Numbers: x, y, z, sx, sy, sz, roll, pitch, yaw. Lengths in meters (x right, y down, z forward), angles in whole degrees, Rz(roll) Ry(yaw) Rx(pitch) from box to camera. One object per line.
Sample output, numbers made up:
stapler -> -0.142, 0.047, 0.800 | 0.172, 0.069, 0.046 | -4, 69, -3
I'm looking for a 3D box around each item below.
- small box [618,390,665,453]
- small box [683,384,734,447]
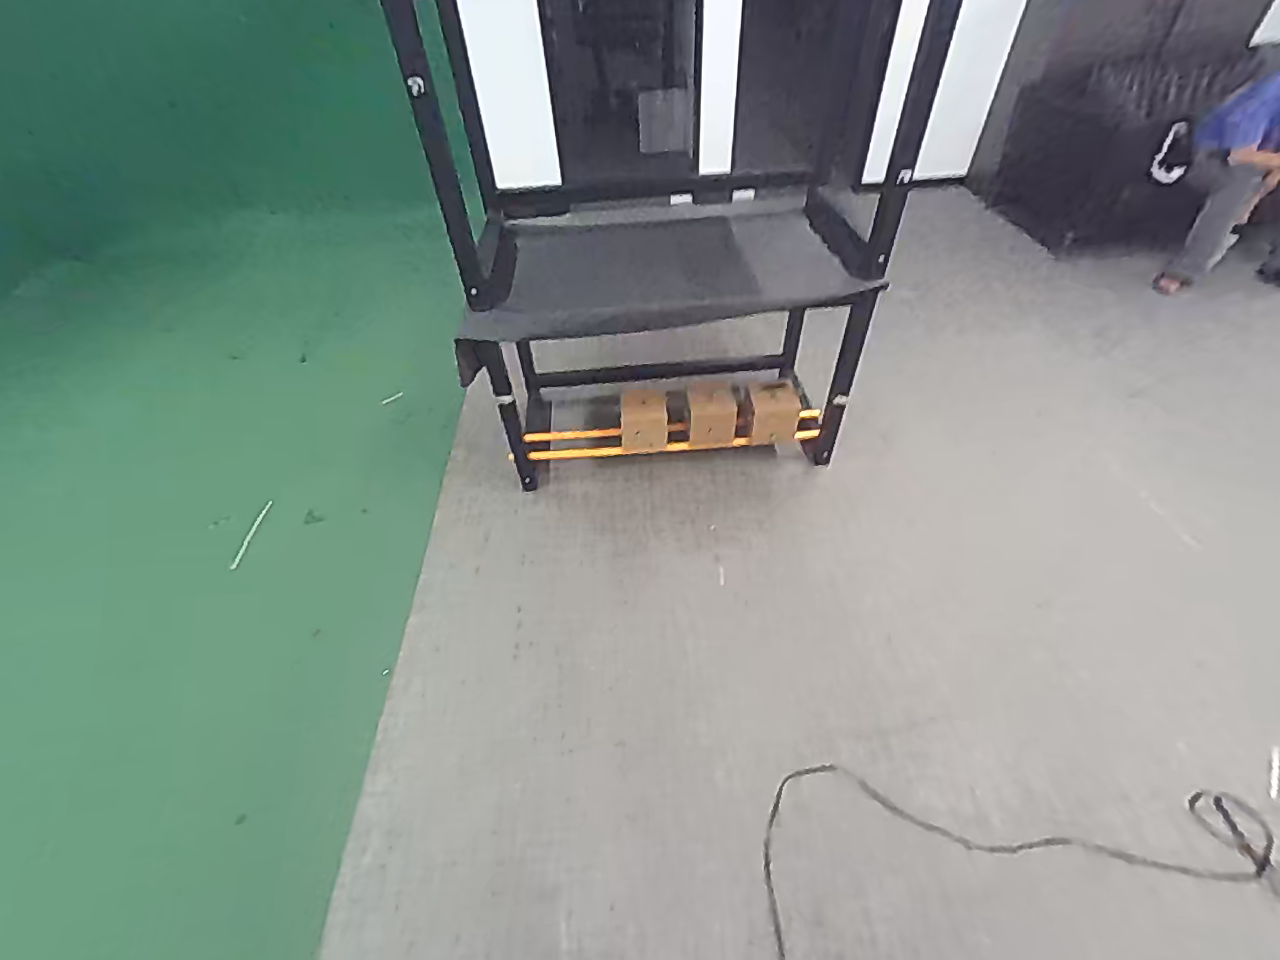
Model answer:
small box -> 0.007, -0.213, 2.015 | 0.168, 0.176, 0.179 | -3, 47, -2
small box -> 0.253, -0.236, 2.023 | 0.168, 0.176, 0.179 | -5, 46, -2
